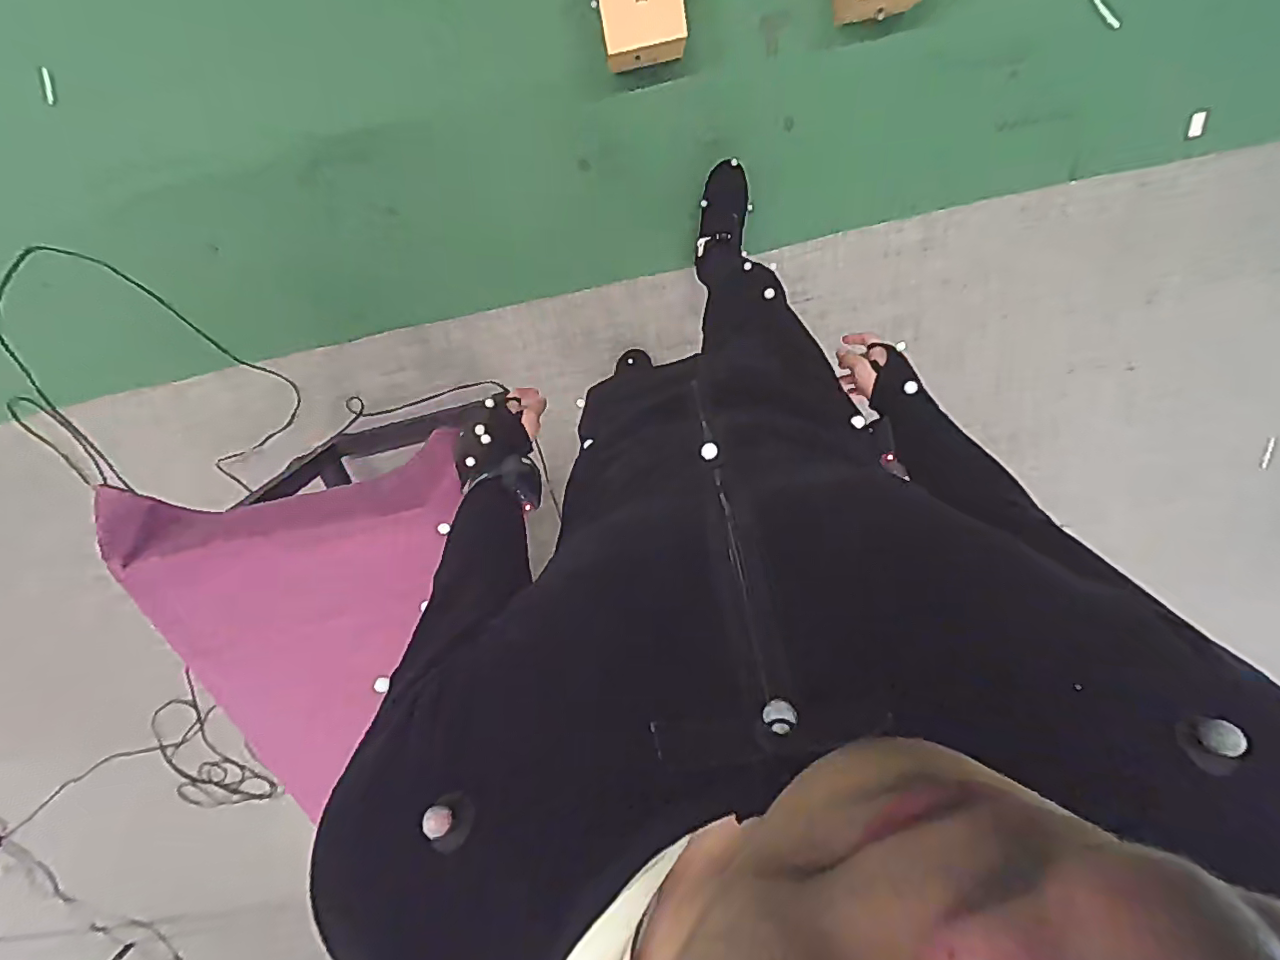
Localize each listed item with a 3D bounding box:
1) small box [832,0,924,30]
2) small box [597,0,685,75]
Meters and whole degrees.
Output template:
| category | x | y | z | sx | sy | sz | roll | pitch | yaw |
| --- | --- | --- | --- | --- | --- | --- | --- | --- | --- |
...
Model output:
| category | x | y | z | sx | sy | sz | roll | pitch | yaw |
| --- | --- | --- | --- | --- | --- | --- | --- | --- | --- |
| small box | 0.494 | -1.058 | 1.092 | 0.168 | 0.176 | 0.179 | -9 | 115 | 4 |
| small box | -0.001 | -0.977 | 1.128 | 0.168 | 0.176 | 0.179 | -10 | 114 | 5 |
